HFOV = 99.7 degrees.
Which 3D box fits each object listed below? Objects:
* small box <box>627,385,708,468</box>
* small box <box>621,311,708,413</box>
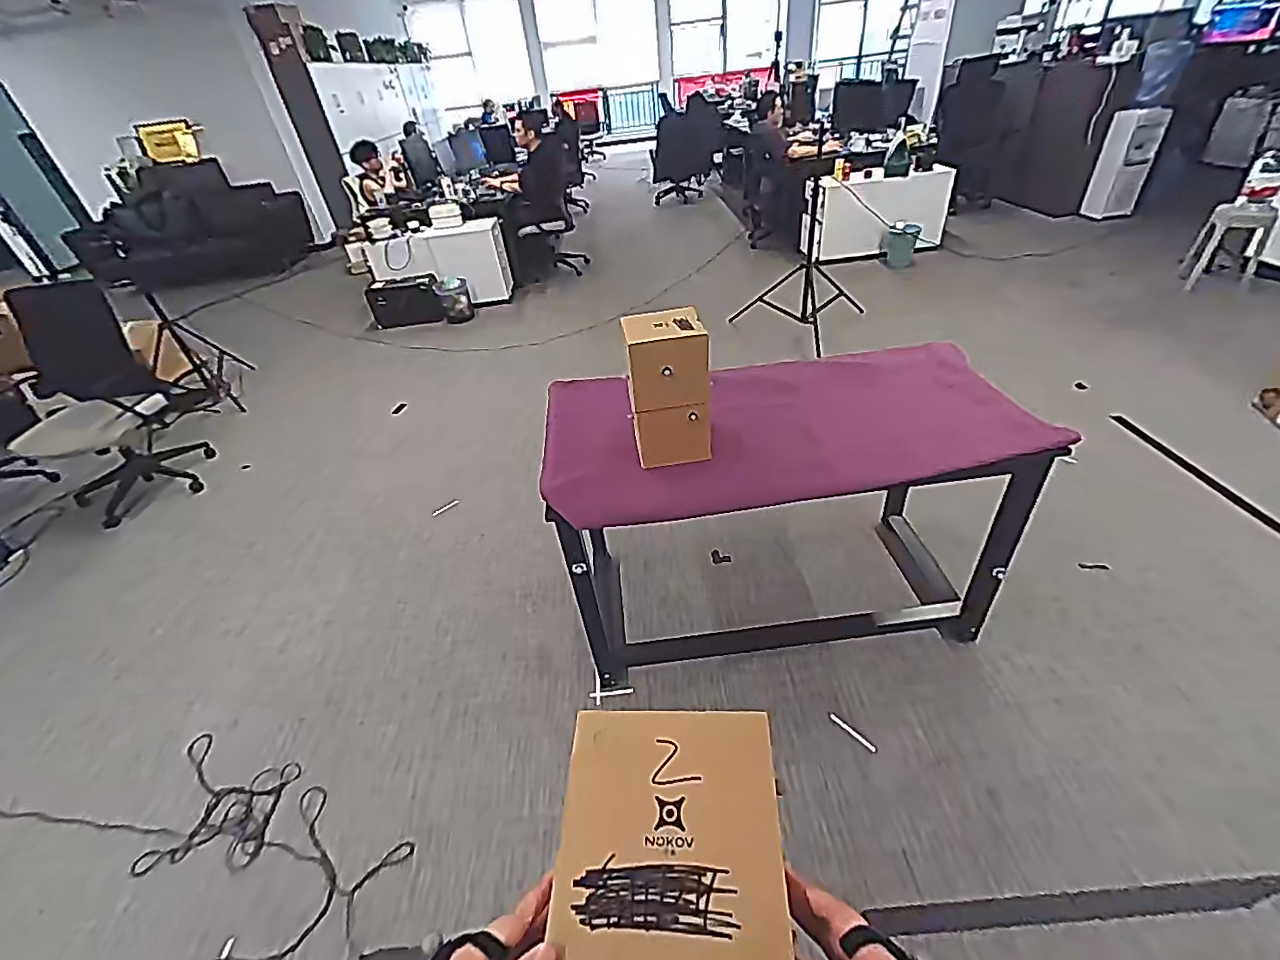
[{"bbox_3d":[0.070,-0.146,1.357,0.179,0.176,0.168,-9,37,-2],"label":"small box"},{"bbox_3d":[0.056,-0.273,1.254,0.179,0.176,0.168,-9,37,-2],"label":"small box"}]
